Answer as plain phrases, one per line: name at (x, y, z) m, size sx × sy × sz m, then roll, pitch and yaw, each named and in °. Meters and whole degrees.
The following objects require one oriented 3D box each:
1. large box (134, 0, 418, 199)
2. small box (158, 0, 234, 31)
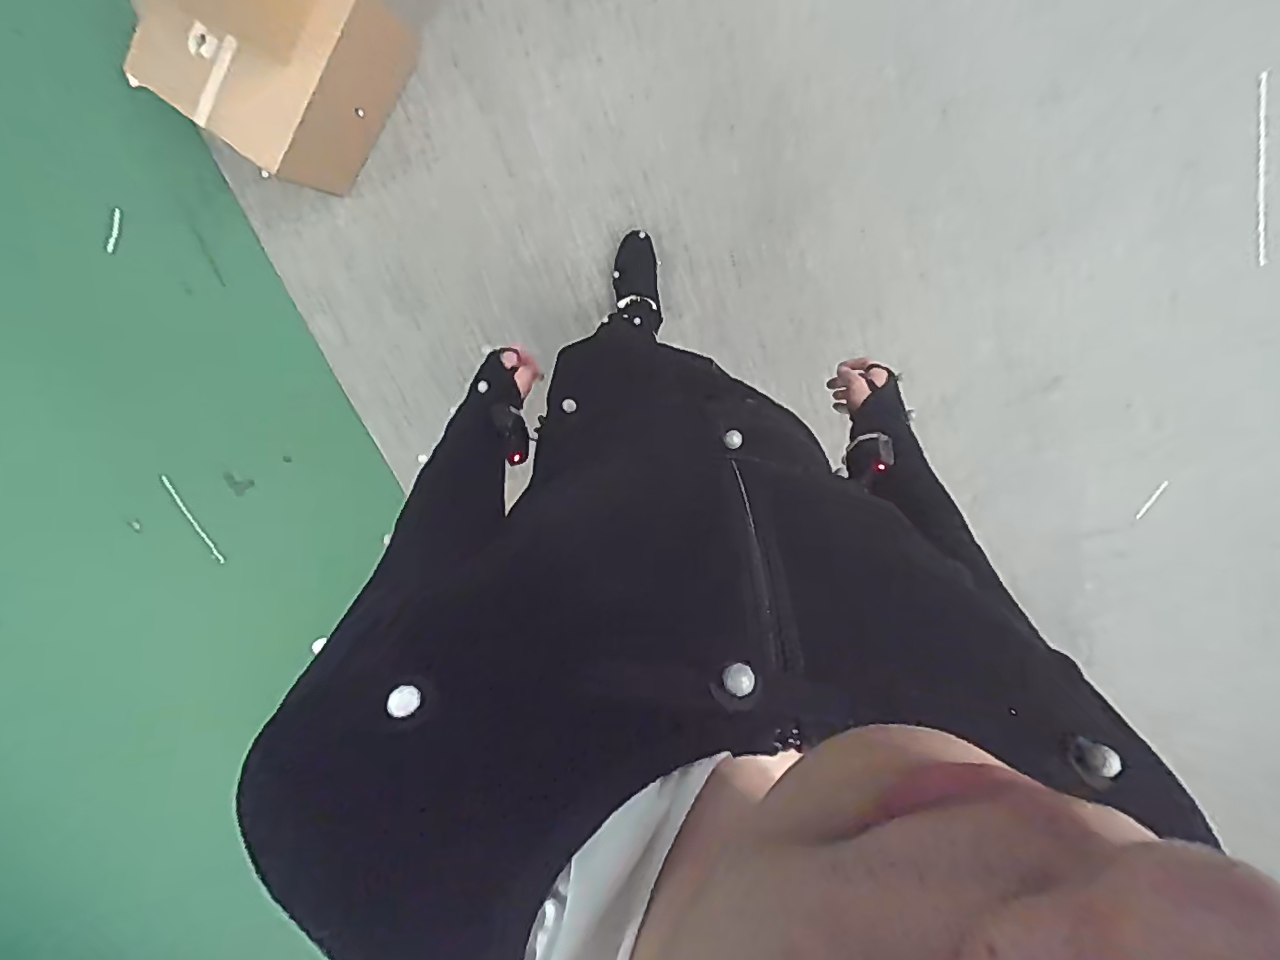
large box at (-0.756, -0.903, 1.172) m, size 0.320 × 0.320 × 0.408 m, roll 35°, pitch 106°, yaw -11°
small box at (-0.695, -0.811, 0.770) m, size 0.168 × 0.176 × 0.179 m, roll 39°, pitch 104°, yaw -13°
